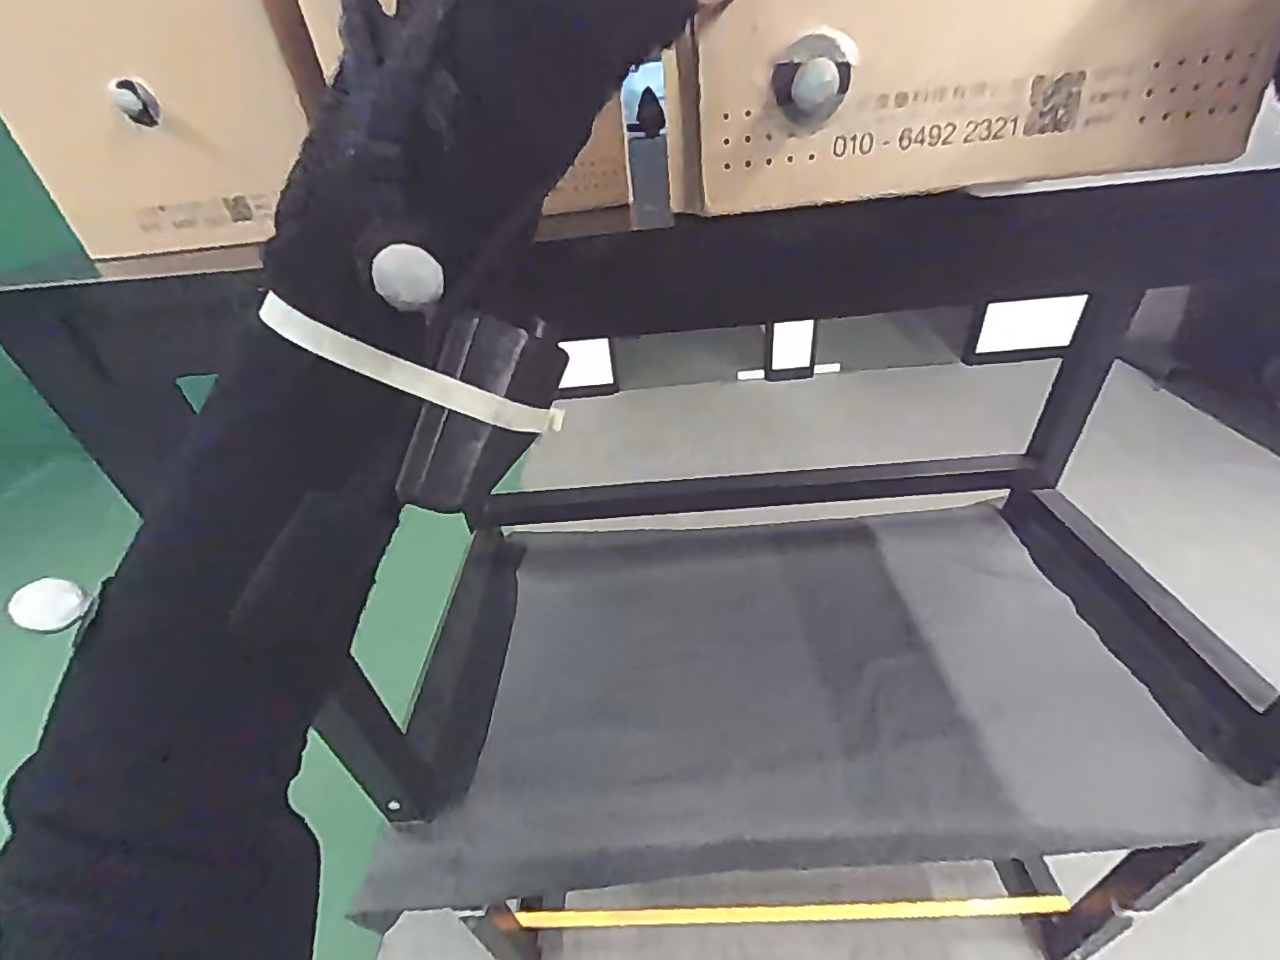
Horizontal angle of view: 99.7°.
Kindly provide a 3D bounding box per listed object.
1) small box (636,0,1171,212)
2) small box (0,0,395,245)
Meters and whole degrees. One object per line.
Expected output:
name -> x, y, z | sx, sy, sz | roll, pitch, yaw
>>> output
small box -> 0.080, -0.212, 0.219 | 0.168, 0.176, 0.179 | -4, 26, 3
small box -> -0.302, -0.277, 0.395 | 0.168, 0.176, 0.179 | -7, 35, -3
